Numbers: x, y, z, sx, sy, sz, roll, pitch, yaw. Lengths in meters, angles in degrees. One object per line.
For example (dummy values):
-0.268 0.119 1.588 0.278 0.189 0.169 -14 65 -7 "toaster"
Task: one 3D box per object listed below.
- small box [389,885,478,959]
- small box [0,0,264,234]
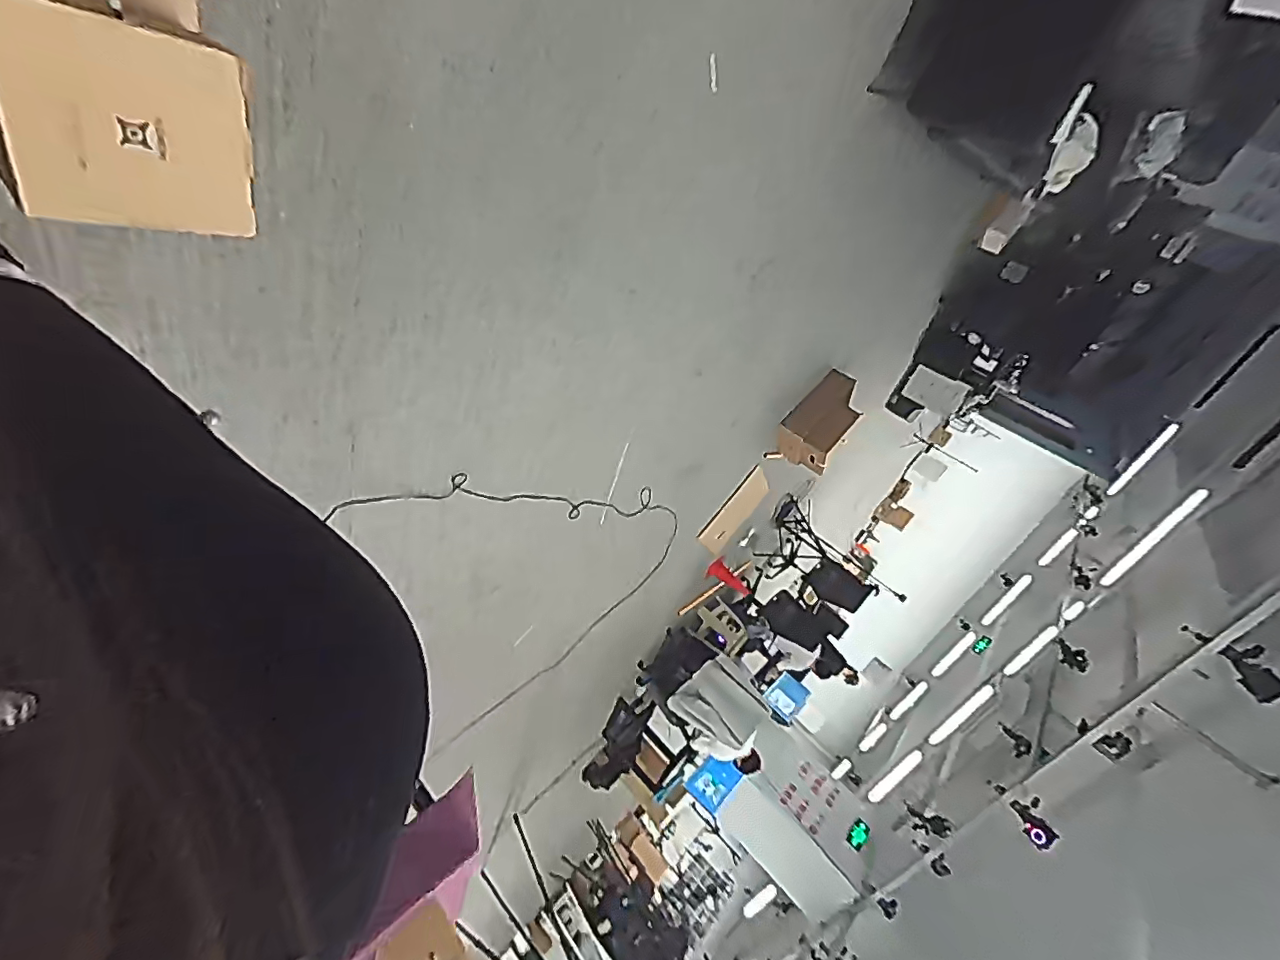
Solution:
-0.605 1.345 1.581 0.179 0.176 0.168 -19 139 -47 "small box"
-0.503 -0.360 0.528 0.179 0.176 0.168 -20 138 -47 "small box"
